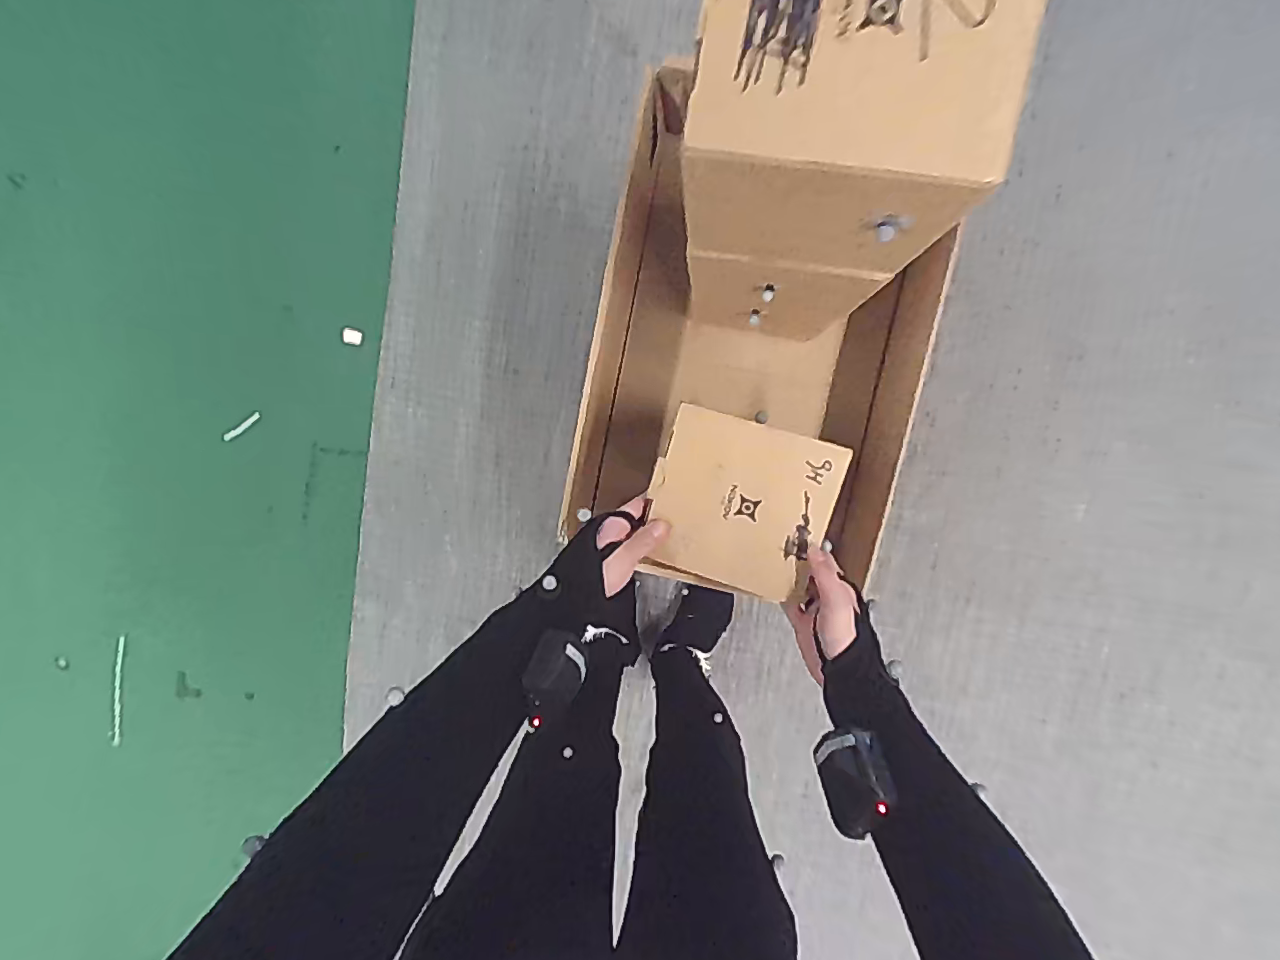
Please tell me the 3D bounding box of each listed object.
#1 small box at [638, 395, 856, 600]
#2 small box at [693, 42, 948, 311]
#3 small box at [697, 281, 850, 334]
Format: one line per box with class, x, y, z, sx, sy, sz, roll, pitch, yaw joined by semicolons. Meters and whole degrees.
small box;0.116;0.011;0.614;0.179;0.176;0.168;18;99;8
small box;0.154;-0.269;0.521;0.179;0.176;0.168;11;97;7
small box;0.174;-0.289;0.682;0.179;0.176;0.168;12;97;5
